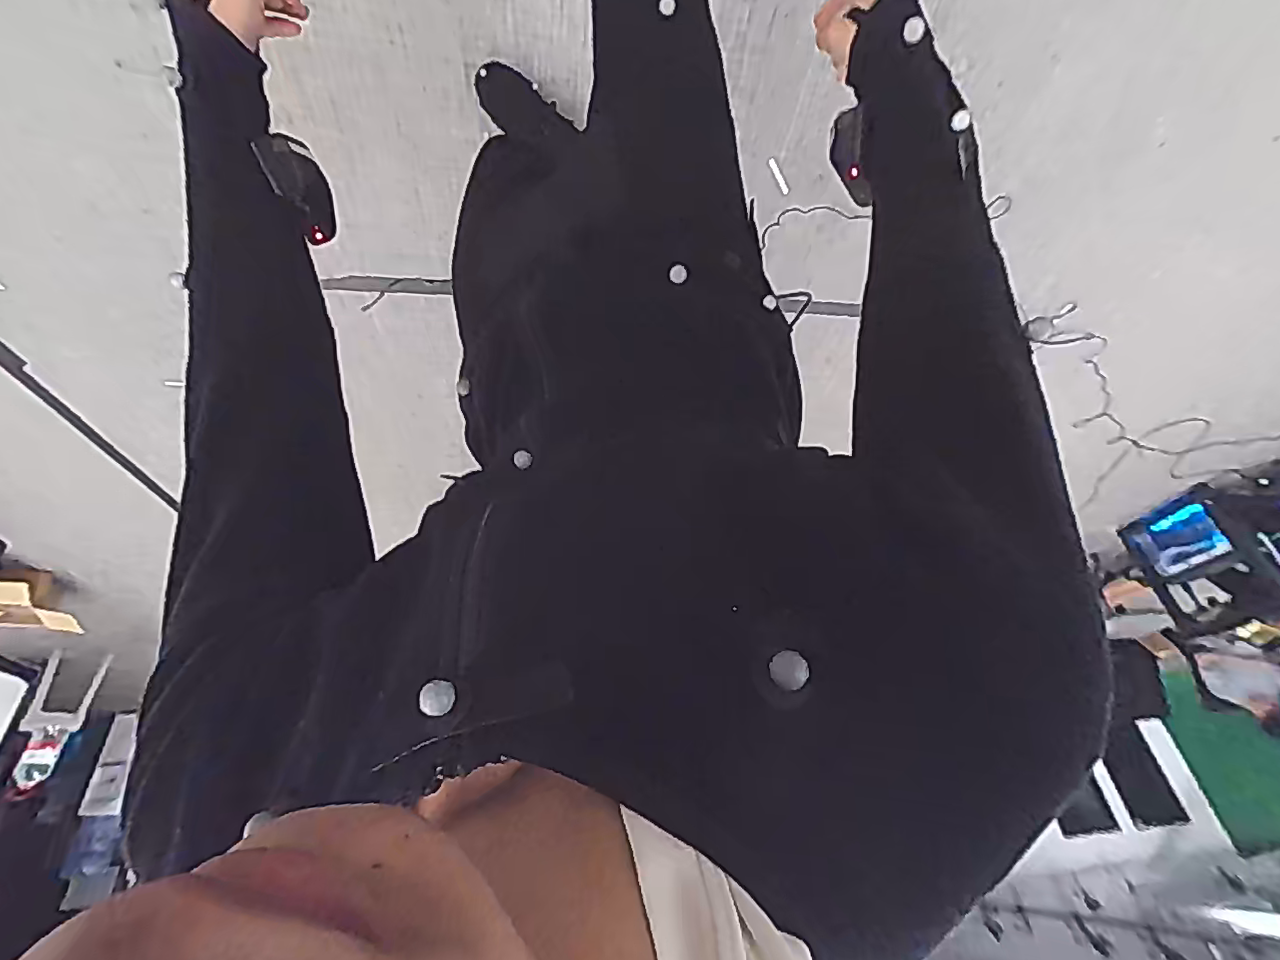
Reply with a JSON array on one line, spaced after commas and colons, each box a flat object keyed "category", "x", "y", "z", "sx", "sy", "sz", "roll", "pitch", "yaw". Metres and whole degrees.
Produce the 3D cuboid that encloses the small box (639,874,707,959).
[{"category": "small box", "x": 0.094, "y": 1.325, "z": 1.653, "sx": 0.168, "sy": 0.176, "sz": 0.179, "roll": -1, "pitch": 149, "yaw": -10}]
